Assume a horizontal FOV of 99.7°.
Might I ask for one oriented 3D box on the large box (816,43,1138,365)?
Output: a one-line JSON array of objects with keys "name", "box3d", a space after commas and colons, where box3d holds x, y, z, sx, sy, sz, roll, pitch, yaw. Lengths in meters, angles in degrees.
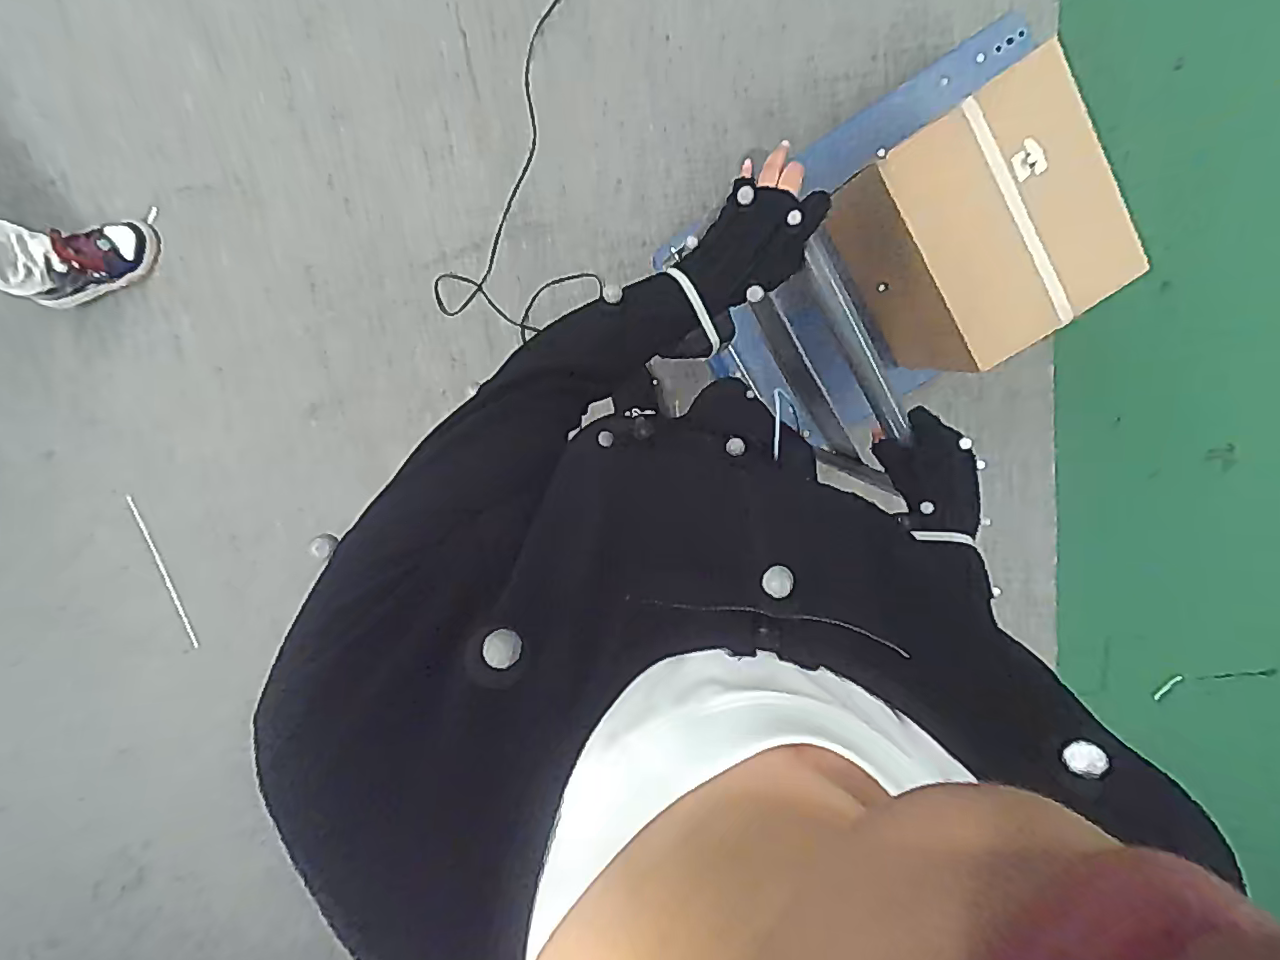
[{"name": "large box", "box3d": [0.608, -0.476, 1.040, 0.320, 0.320, 0.408, -33, 101, 7]}]
